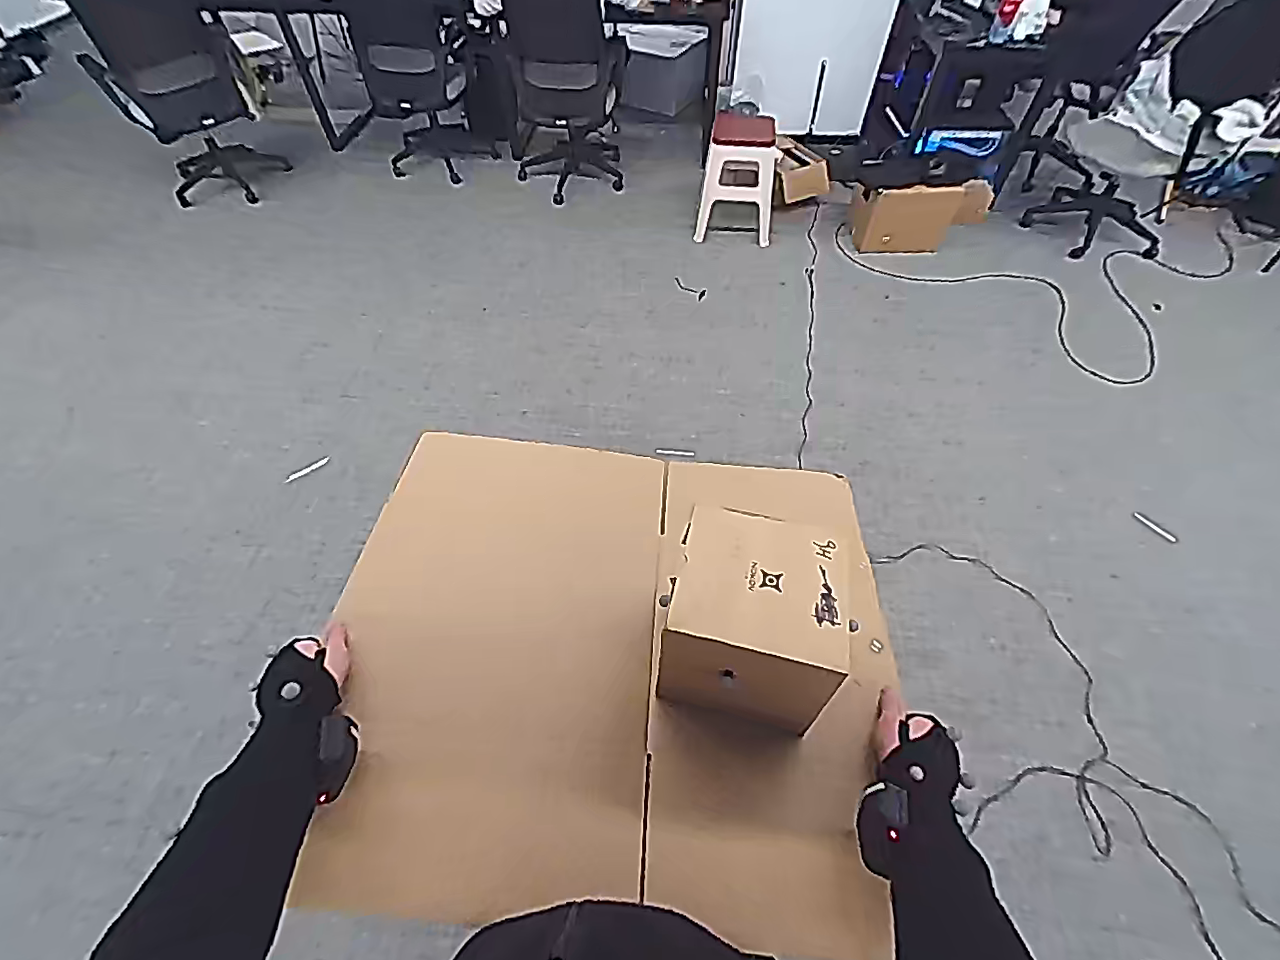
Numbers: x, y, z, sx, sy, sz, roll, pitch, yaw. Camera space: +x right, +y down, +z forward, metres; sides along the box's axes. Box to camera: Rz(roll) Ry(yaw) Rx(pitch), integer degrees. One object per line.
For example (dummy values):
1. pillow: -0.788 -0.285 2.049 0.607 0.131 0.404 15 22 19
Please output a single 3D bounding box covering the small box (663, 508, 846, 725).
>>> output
1. small box: 0.127 0.159 0.624 0.179 0.176 0.168 11 48 9
